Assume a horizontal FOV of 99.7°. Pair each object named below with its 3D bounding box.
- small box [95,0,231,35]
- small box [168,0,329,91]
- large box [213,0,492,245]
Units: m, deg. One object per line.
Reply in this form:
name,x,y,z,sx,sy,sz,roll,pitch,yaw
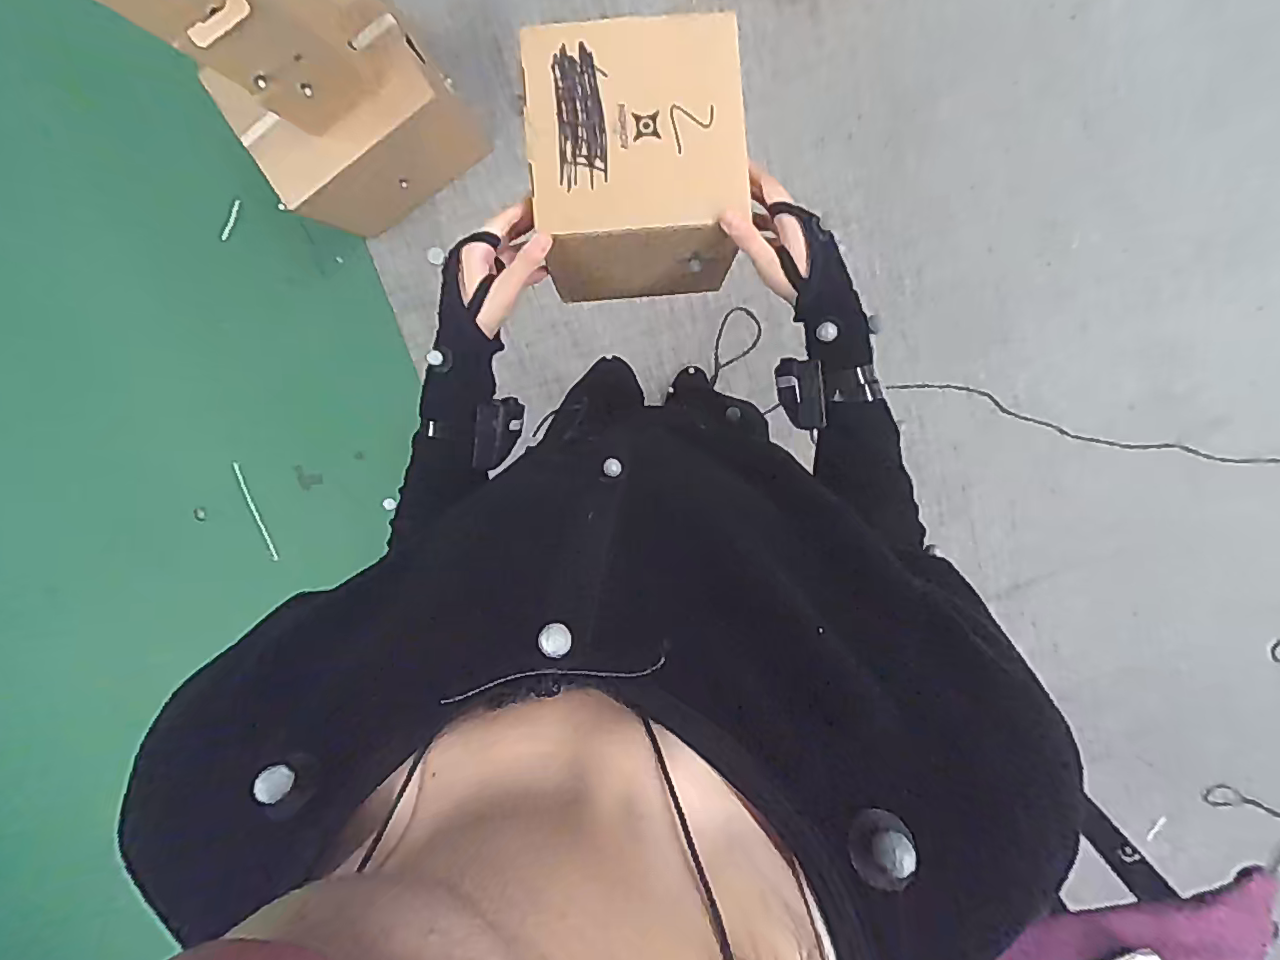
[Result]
small box,-0.652,-0.717,0.681,0.168,0.176,0.179,-26,101,10
small box,-0.633,-0.752,0.841,0.168,0.176,0.179,-25,100,10
large box,-0.629,-0.816,1.246,0.408,0.320,0.320,-30,97,12
